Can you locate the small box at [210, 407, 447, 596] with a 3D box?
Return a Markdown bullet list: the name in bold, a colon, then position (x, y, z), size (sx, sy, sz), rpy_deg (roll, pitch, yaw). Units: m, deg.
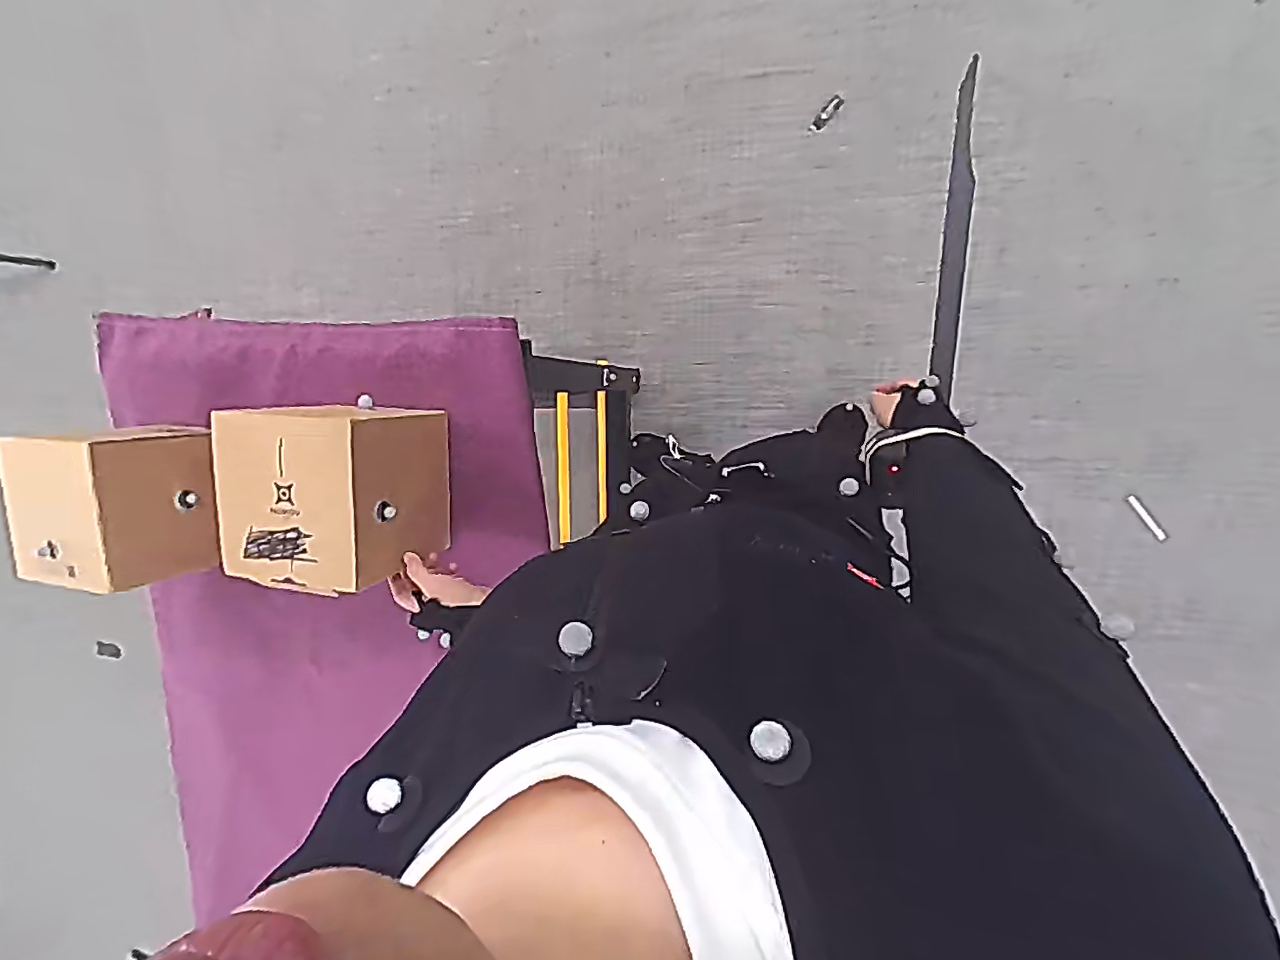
- **small box**: position (-0.337, 0.012, 0.616), size (0.168, 0.176, 0.179), rpy_deg (4, 100, 12)
